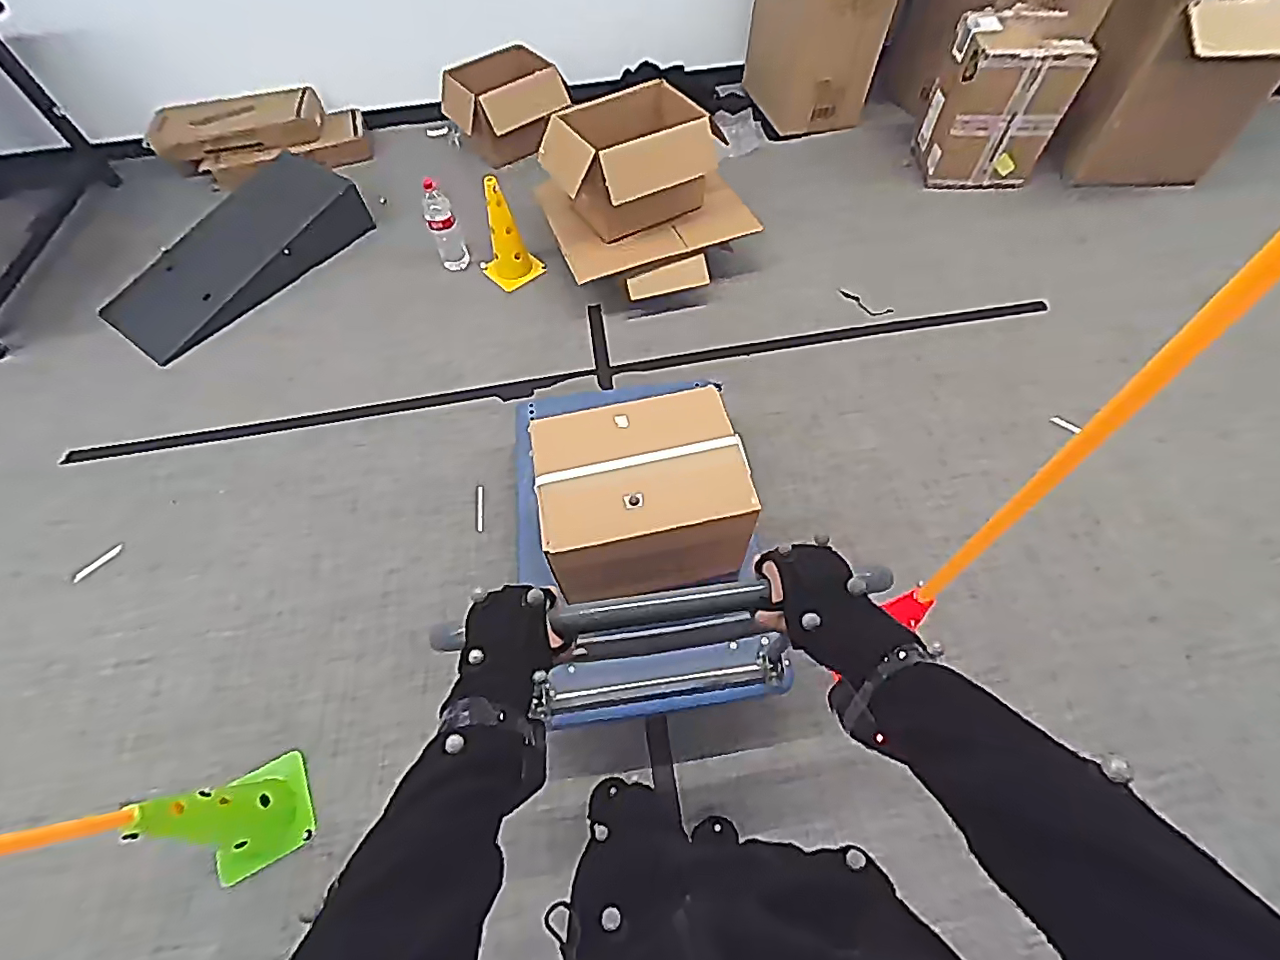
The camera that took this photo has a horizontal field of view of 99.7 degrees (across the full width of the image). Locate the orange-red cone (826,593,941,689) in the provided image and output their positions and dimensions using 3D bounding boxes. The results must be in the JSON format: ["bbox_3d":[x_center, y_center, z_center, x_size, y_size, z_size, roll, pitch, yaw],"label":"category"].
[{"bbox_3d":[0.561,0.319,1.176,0.199,0.360,0.198,-3,59,0],"label":"orange-red cone"}]
